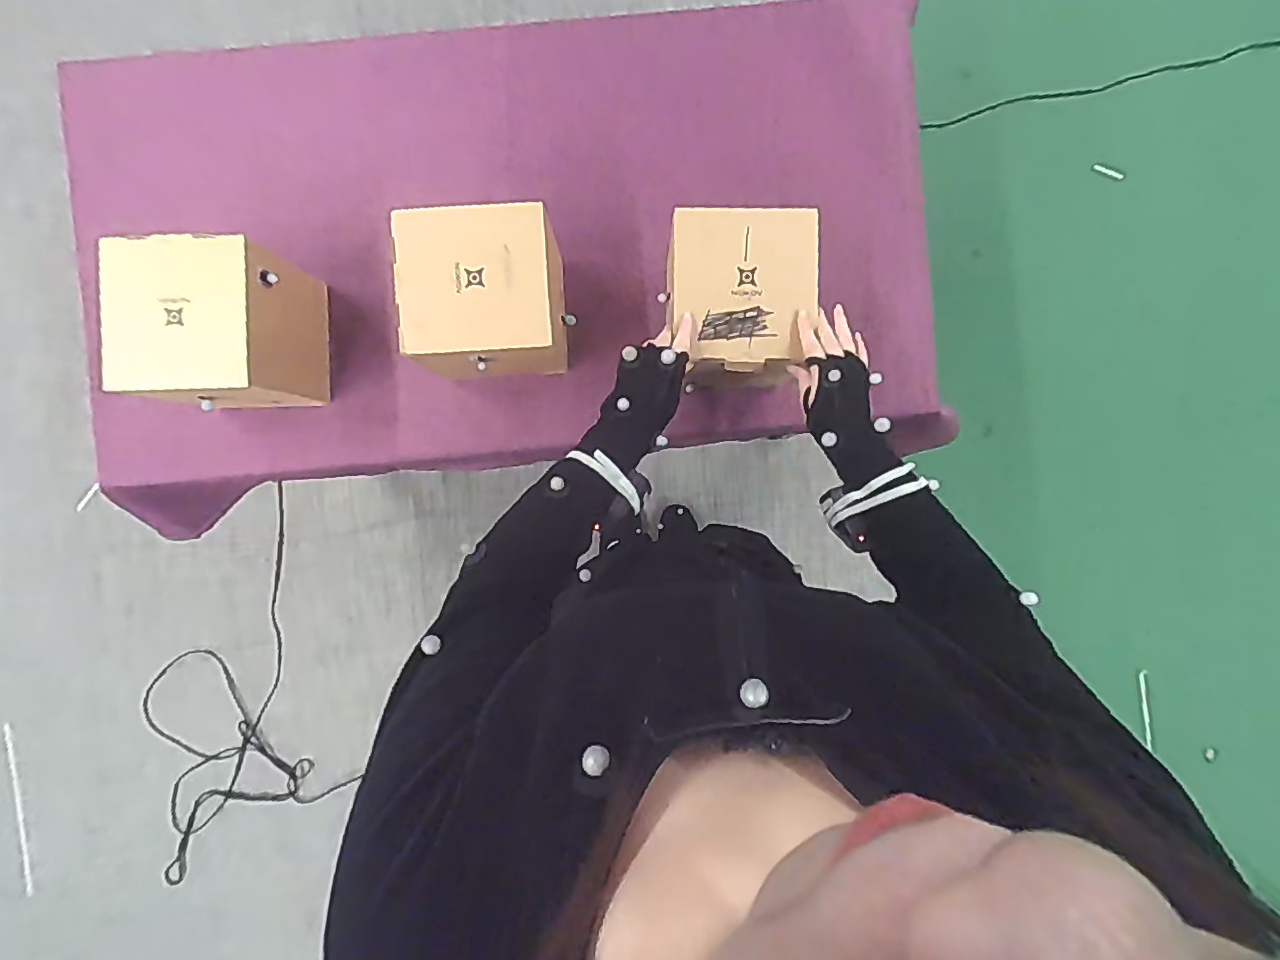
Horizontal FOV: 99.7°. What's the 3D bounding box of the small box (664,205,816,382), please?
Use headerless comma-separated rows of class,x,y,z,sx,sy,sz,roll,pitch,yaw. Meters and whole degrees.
small box,0.118,-0.224,0.691,0.168,0.176,0.179,0,89,0

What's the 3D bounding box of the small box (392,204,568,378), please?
small box,-0.193,-0.228,0.693,0.179,0.176,0.168,-3,91,0

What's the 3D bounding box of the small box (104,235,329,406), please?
small box,-0.525,-0.190,0.694,0.168,0.176,0.179,-1,89,0
